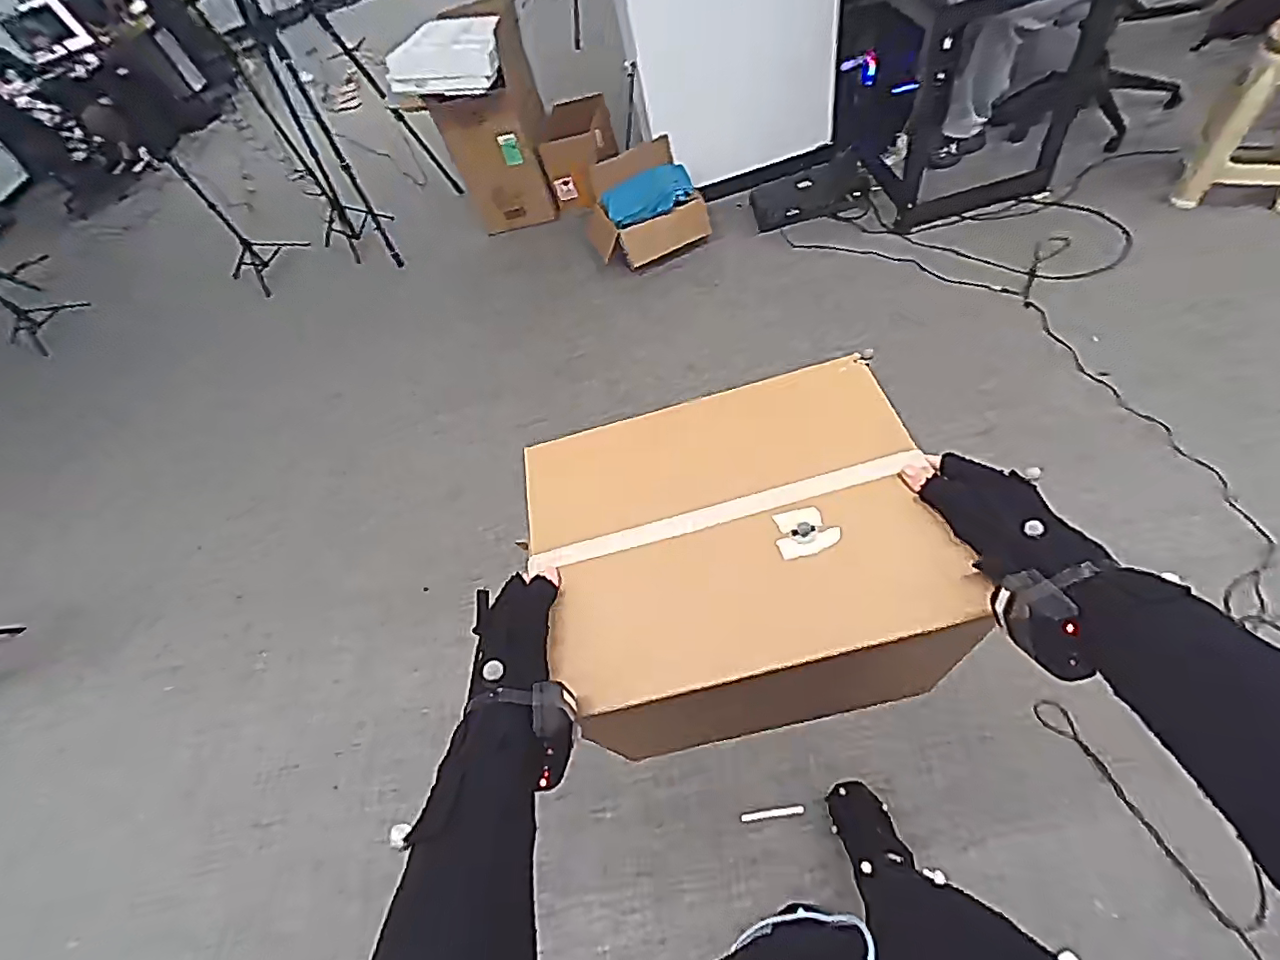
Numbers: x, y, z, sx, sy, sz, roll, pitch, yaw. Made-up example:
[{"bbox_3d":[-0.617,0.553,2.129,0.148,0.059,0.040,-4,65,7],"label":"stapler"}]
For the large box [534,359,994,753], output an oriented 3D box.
[{"bbox_3d":[0.118,0.113,0.682,0.408,0.320,0.320,-16,56,3],"label":"large box"}]
